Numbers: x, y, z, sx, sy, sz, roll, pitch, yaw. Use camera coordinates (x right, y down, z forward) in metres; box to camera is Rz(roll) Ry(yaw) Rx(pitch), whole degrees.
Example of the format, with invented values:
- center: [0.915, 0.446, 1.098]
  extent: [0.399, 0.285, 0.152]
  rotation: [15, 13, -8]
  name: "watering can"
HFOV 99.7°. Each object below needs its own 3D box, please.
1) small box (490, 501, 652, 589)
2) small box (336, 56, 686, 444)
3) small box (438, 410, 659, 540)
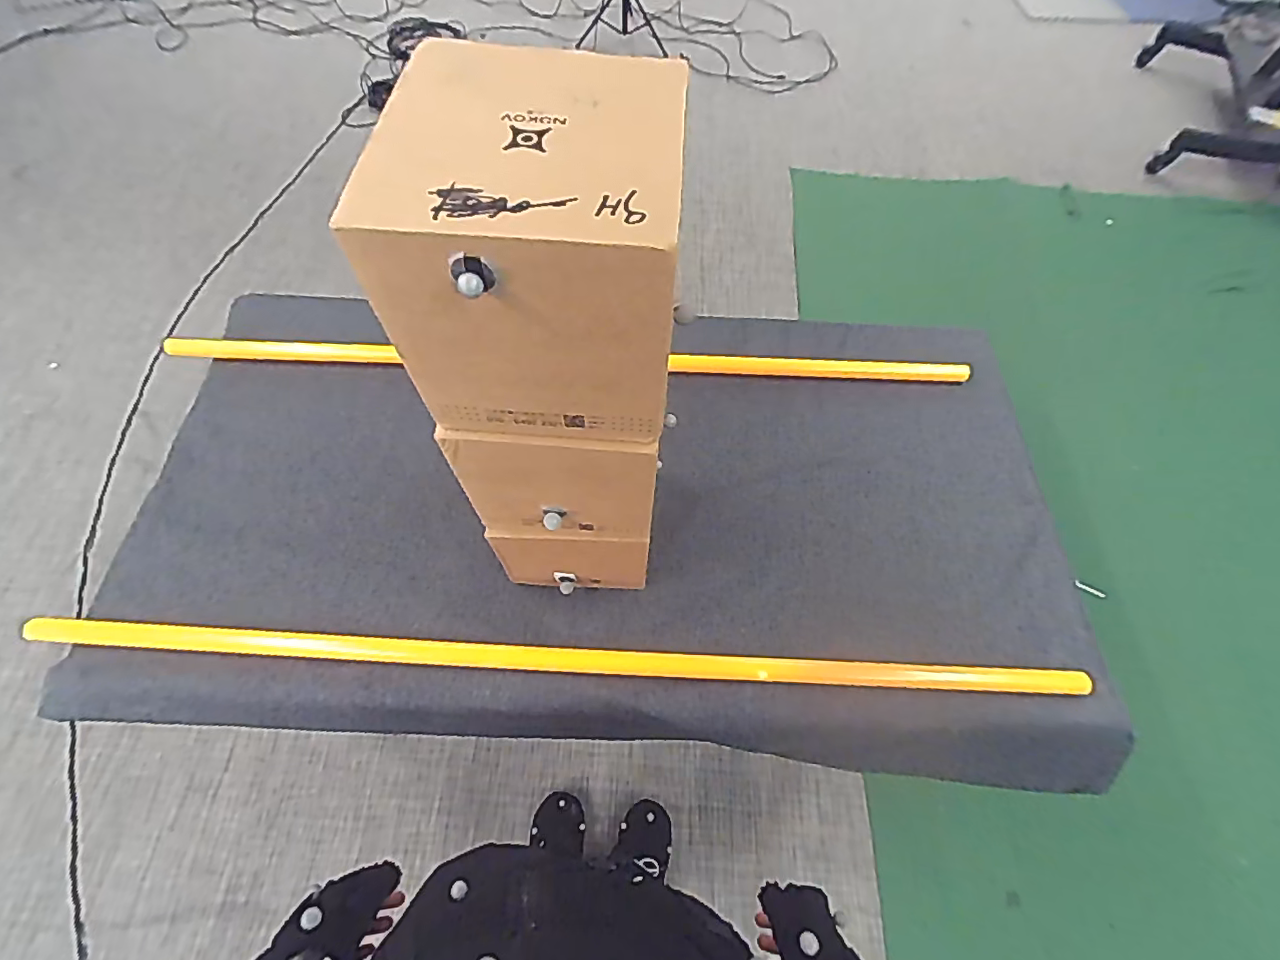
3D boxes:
- center: [-0.070, 0.021, 0.650]
  extent: [0.168, 0.176, 0.179]
  rotation: [1, 63, 0]
  name: "small box"
- center: [-0.061, -0.146, 0.367]
  extent: [0.168, 0.176, 0.179]
  rotation: [4, 61, 2]
  name: "small box"
- center: [-0.064, -0.061, 0.508]
  extent: [0.168, 0.176, 0.179]
  rotation: [4, 62, 2]
  name: "small box"
